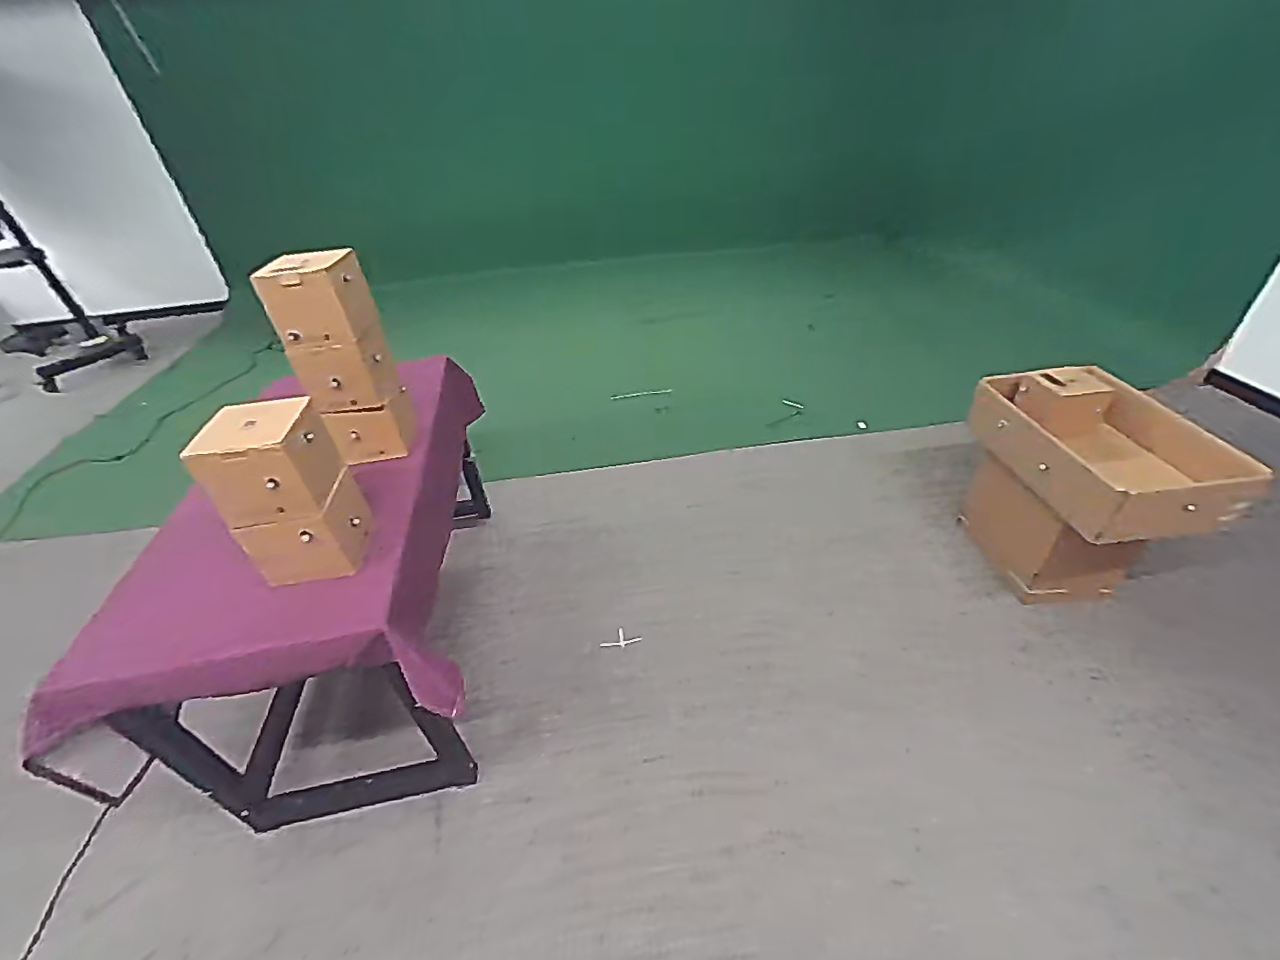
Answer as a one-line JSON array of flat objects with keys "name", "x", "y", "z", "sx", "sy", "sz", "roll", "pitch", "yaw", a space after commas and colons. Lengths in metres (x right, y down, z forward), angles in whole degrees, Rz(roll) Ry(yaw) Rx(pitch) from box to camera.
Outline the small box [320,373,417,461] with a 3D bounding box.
[{"name": "small box", "x": -0.724, "y": -0.165, "z": 1.465, "sx": 0.168, "sy": 0.176, "sz": 0.179, "roll": -9, "pitch": 38, "yaw": -4}]

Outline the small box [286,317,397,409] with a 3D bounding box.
[{"name": "small box", "x": -0.737, "y": -0.289, "z": 1.358, "sx": 0.168, "sy": 0.176, "sz": 0.179, "roll": -7, "pitch": 39, "yaw": -1}]

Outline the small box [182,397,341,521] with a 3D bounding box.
[{"name": "small box", "x": -0.702, "y": -0.035, "z": 1.031, "sx": 0.168, "sy": 0.176, "sz": 0.179, "roll": -8, "pitch": 38, "yaw": -5}]

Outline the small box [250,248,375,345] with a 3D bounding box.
[{"name": "small box", "x": -0.750, "y": -0.424, "z": 1.264, "sx": 0.168, "sy": 0.176, "sz": 0.179, "roll": -7, "pitch": 37, "yaw": -1}]

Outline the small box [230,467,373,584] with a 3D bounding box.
[{"name": "small box", "x": -0.687, "y": 0.096, "z": 1.128, "sx": 0.179, "sy": 0.176, "sz": 0.168, "roll": -8, "pitch": 38, "yaw": -3}]
